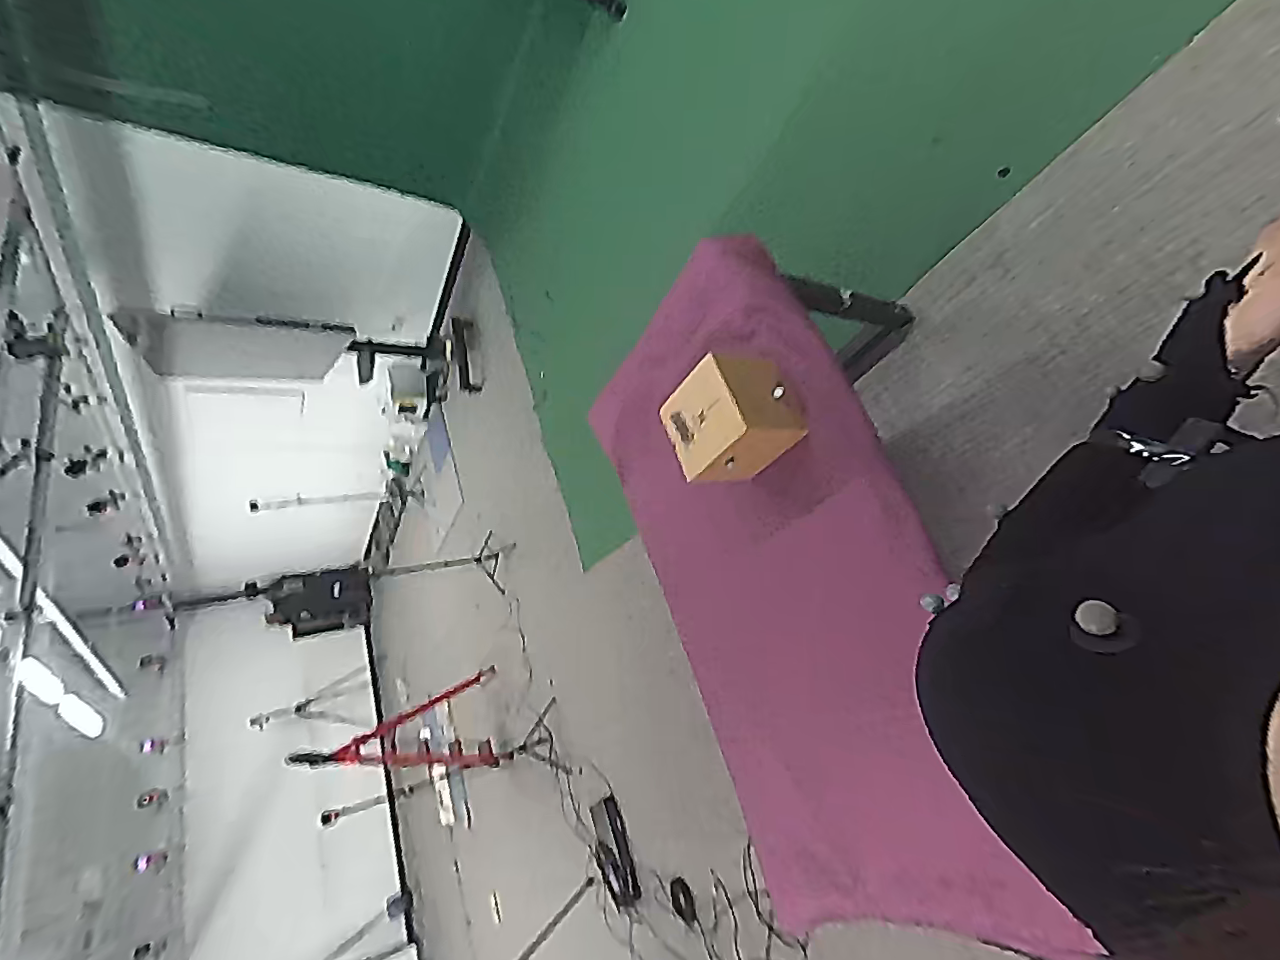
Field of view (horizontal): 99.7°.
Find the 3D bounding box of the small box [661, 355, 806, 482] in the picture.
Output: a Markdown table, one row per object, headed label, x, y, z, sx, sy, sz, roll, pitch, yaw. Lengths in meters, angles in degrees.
| label | x | y | z | sx | sy | sz | roll | pitch | yaw |
| --- | --- | --- | --- | --- | --- | --- | --- | --- | --- |
| small box | 0.172 | -0.108 | 1.012 | 0.179 | 0.176 | 0.168 | -46 | 57 | 45 |
